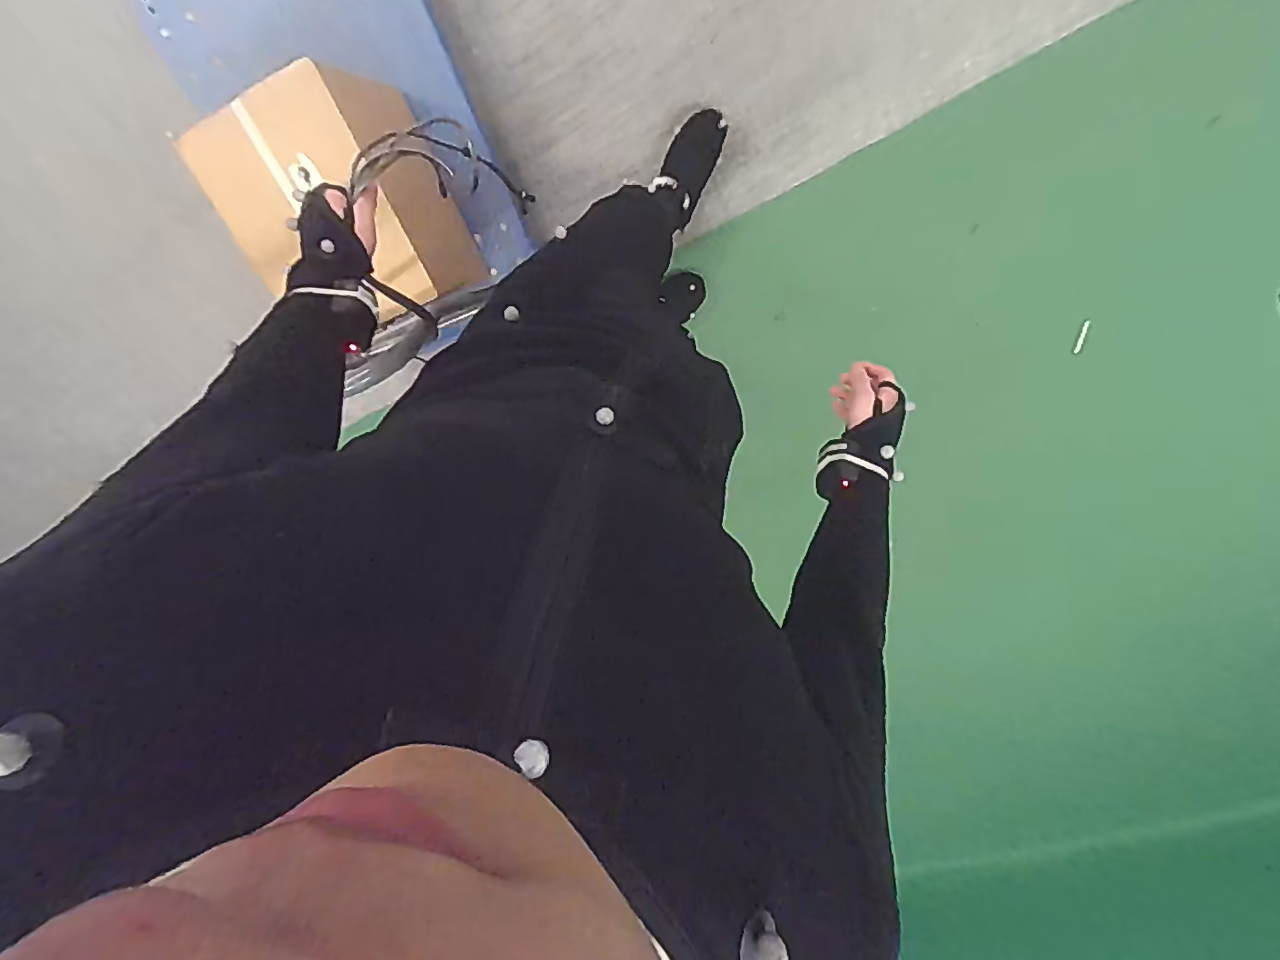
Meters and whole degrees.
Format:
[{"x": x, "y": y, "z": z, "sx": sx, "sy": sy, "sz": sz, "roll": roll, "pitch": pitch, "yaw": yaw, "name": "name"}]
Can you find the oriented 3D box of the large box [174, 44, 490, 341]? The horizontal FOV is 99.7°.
[{"x": -0.576, "y": -0.556, "z": 1.104, "sx": 0.320, "sy": 0.320, "sz": 0.408, "roll": -18, "pitch": 115, "yaw": 14, "name": "large box"}]
